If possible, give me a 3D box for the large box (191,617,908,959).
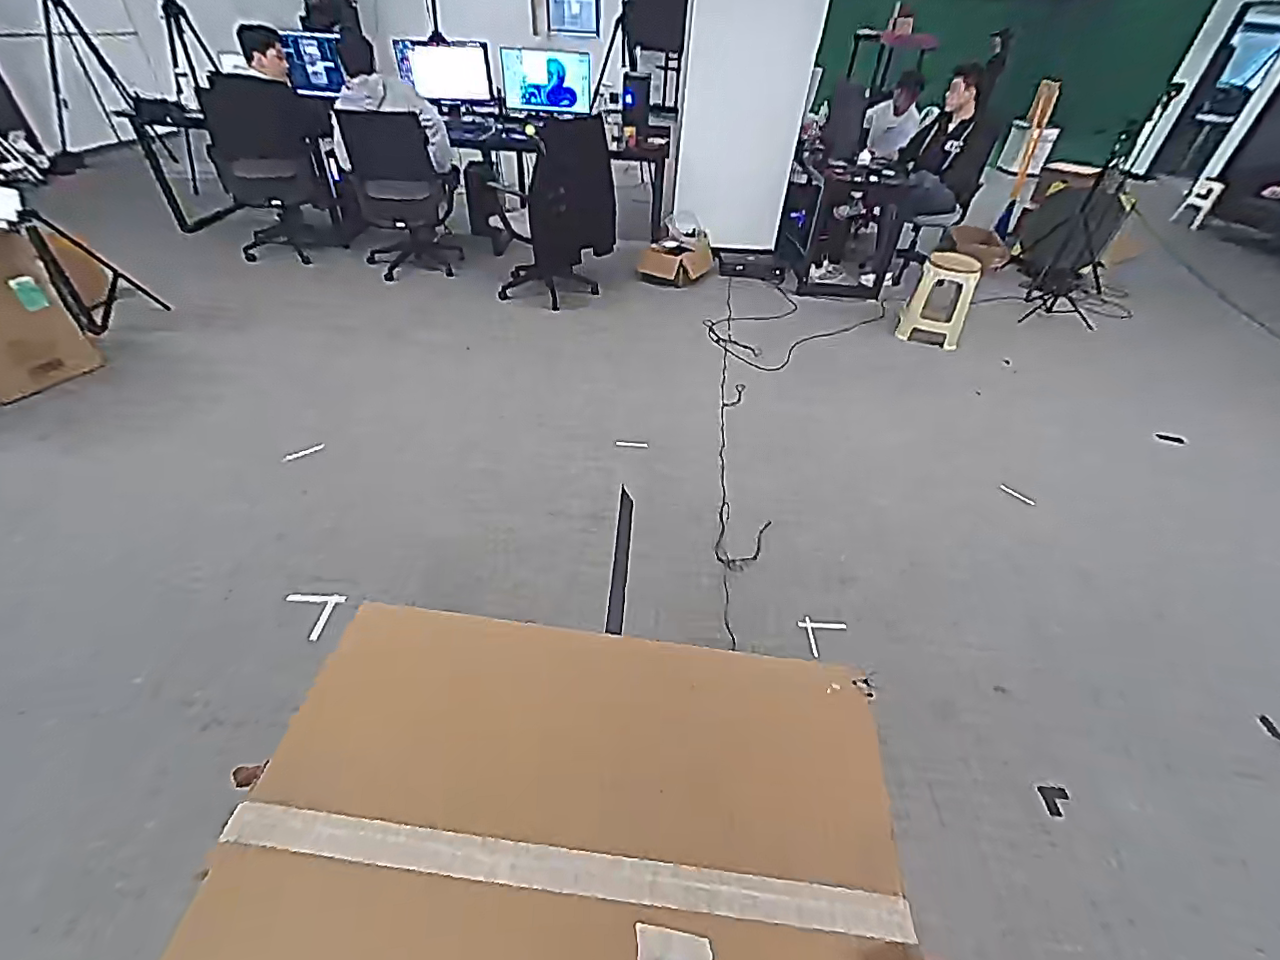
[{"bbox_3d":[-0.051,0.345,0.435,0.408,0.320,0.320,7,45,2],"label":"large box"}]
